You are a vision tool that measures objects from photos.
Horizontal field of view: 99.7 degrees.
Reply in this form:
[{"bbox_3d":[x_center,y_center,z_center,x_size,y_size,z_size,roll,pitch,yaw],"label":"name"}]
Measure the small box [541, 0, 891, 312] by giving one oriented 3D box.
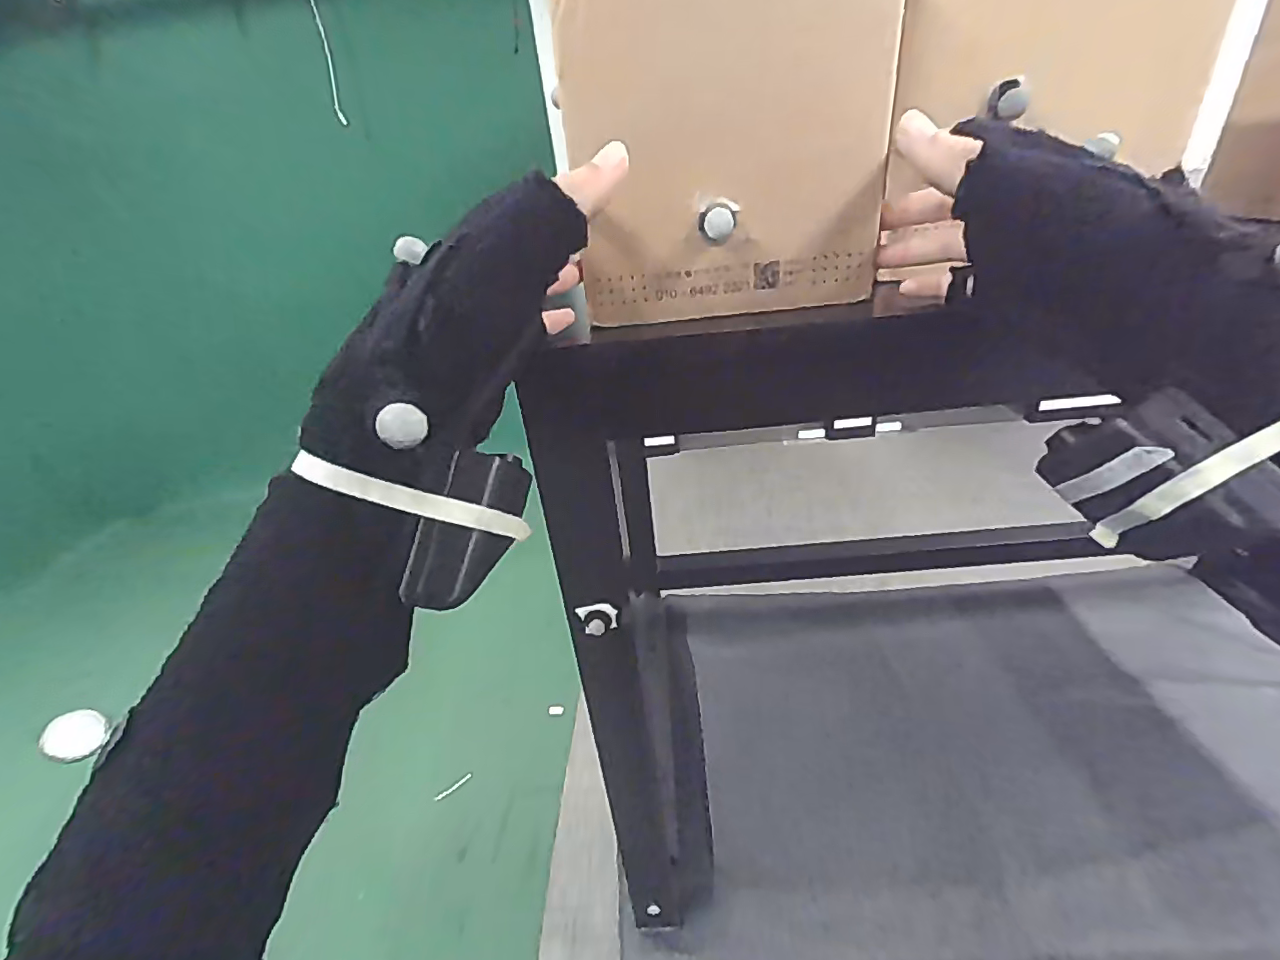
[{"bbox_3d":[0.039,-0.212,0.349,0.168,0.176,0.179,-5,30,2],"label":"small box"}]
